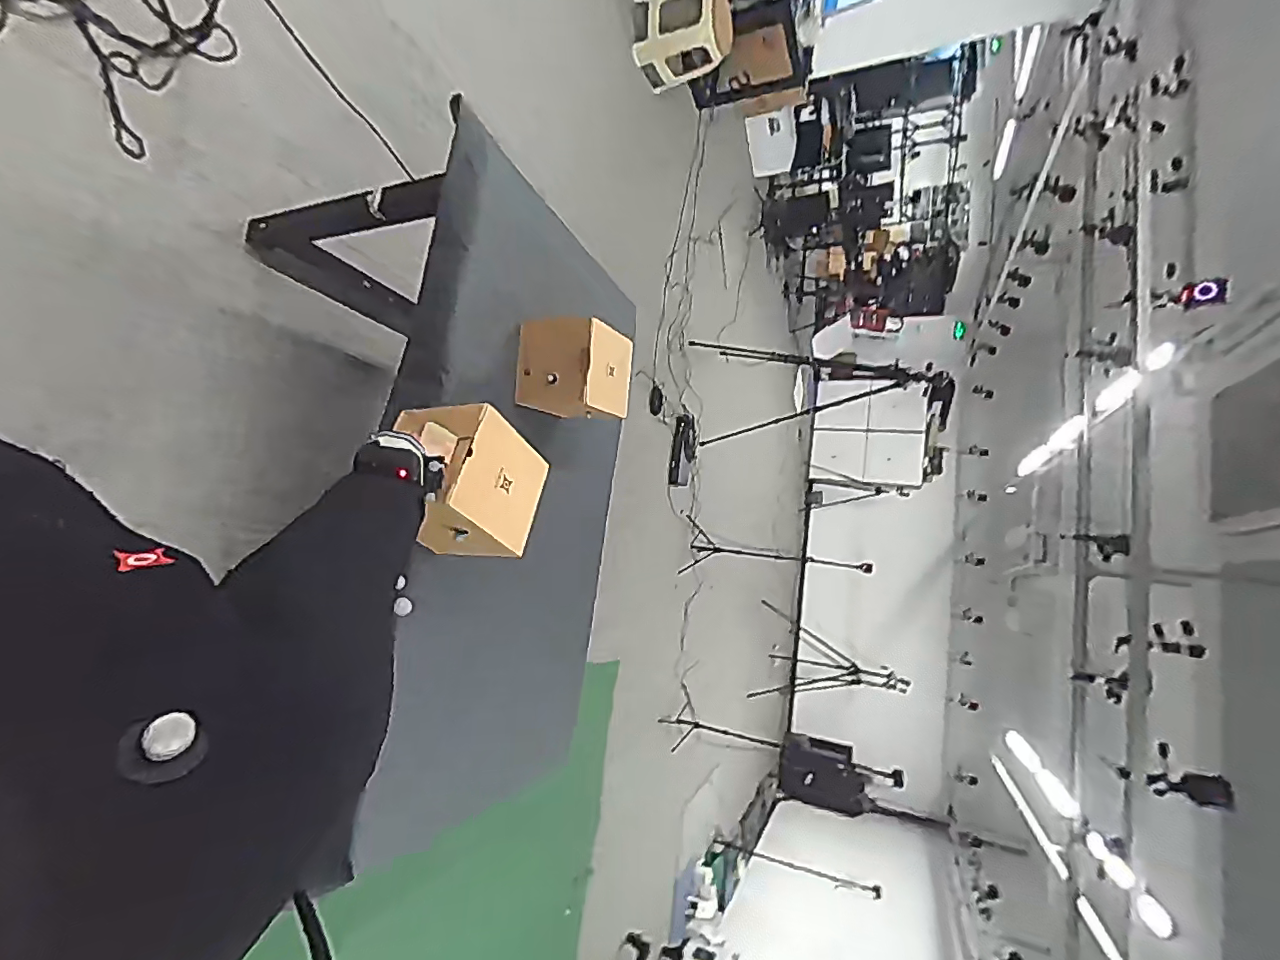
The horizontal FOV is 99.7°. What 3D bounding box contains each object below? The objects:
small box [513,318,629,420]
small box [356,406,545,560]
[{"bbox_3d":[-0.138,-0.217,1.098,0.179,0.176,0.168,6,89,-67],"label":"small box"},{"bbox_3d":[-0.274,0.008,0.809,0.179,0.176,0.168,54,41,-52],"label":"small box"}]
